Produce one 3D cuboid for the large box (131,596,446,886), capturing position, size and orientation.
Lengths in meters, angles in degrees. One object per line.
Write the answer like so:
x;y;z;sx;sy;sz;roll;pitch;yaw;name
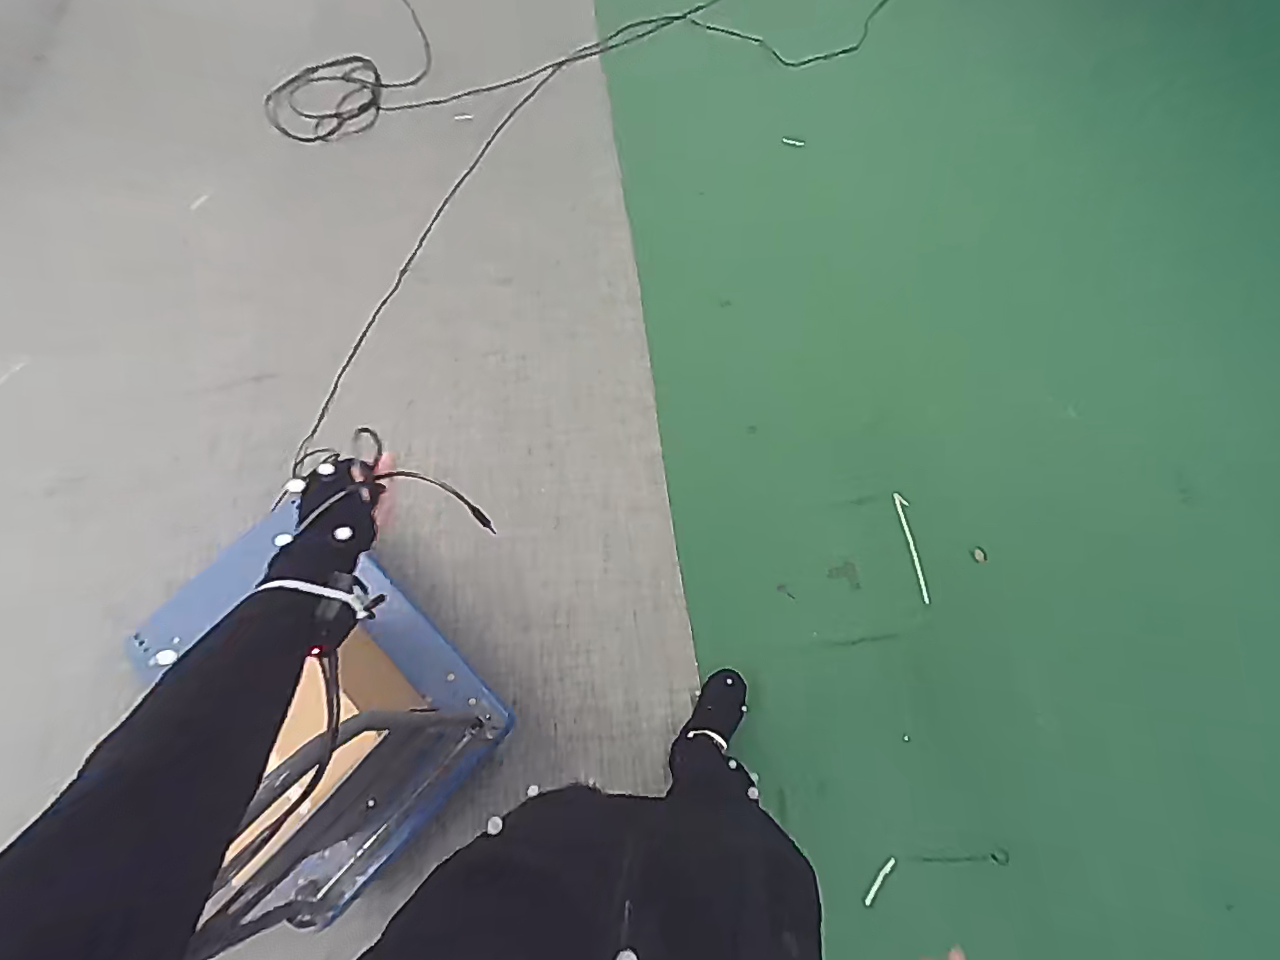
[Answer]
-0.696;0.508;1.125;0.408;0.320;0.320;39;76;17;large box
